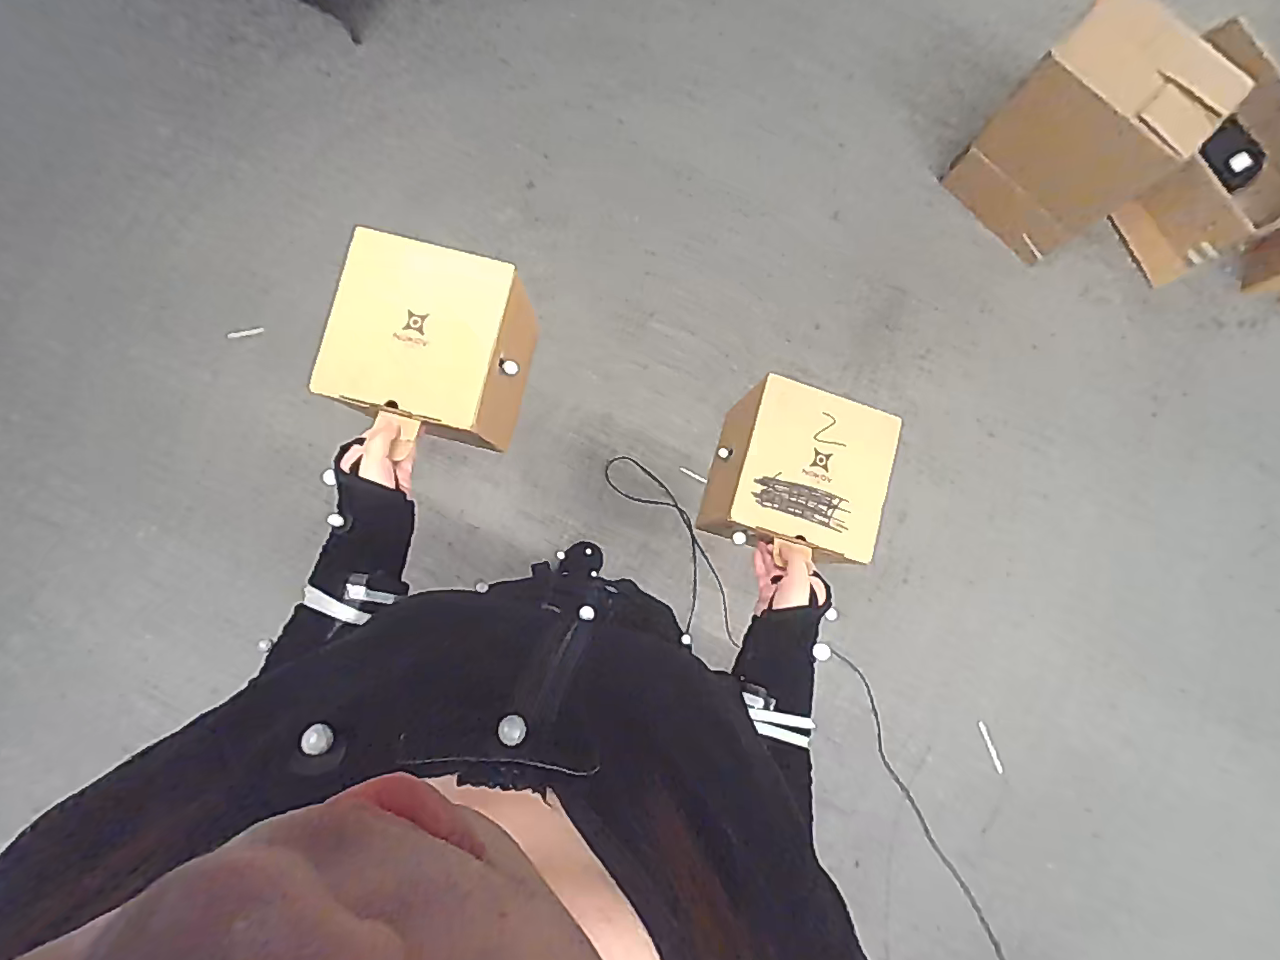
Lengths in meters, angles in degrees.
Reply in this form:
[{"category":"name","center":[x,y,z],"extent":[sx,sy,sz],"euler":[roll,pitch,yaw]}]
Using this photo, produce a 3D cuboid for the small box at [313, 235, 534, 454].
[{"category":"small box","center":[-0.226,-0.138,0.617],"extent":[0.168,0.176,0.179],"euler":[14,86,-2]}]
